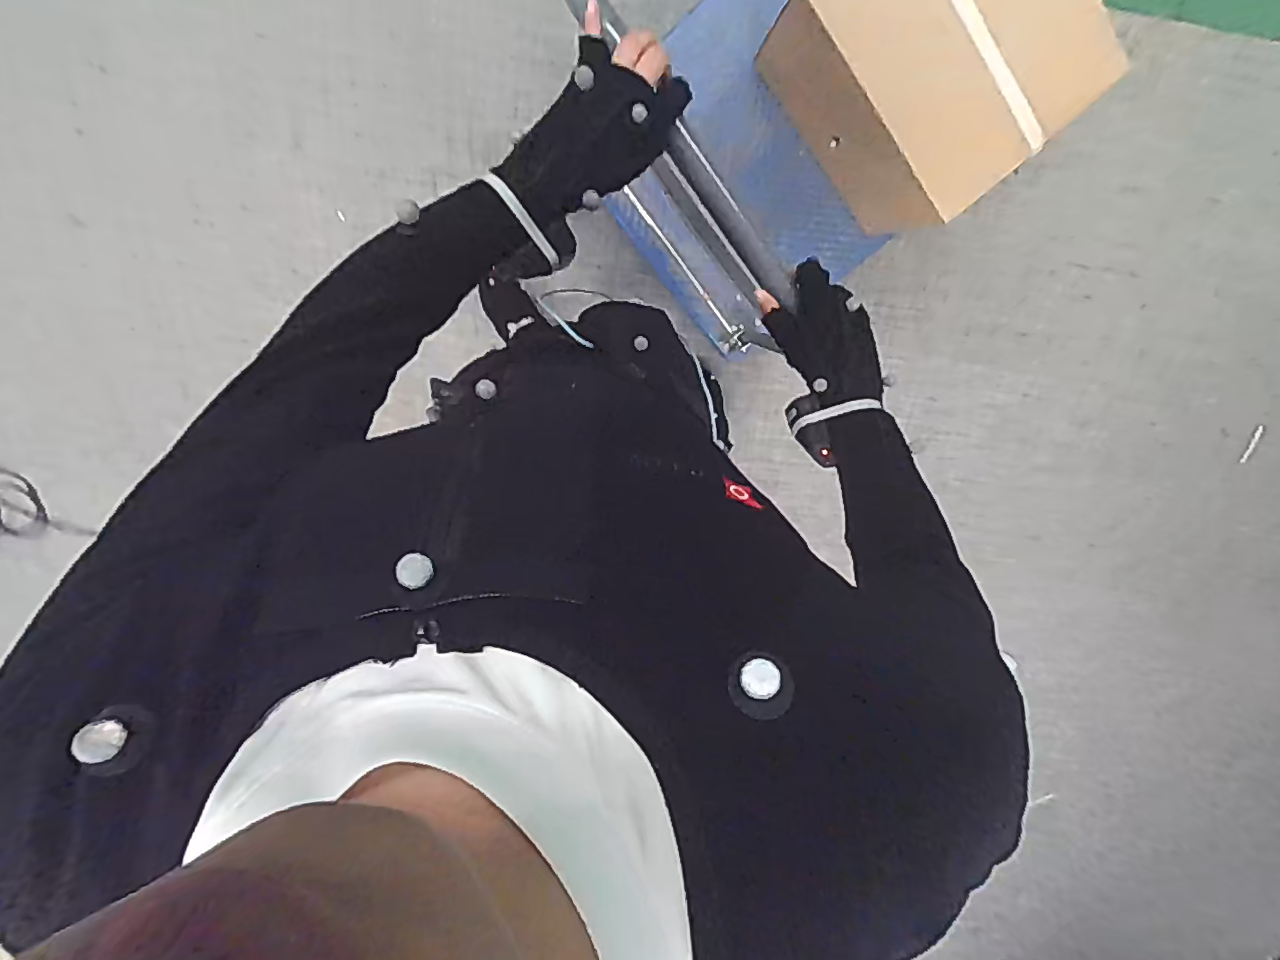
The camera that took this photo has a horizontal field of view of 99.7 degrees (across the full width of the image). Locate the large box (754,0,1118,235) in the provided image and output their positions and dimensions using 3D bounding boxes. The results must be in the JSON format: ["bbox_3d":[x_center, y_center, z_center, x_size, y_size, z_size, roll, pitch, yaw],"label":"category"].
[{"bbox_3d":[0.455,-0.687,0.909,0.320,0.320,0.408,-40,106,13],"label":"large box"}]
